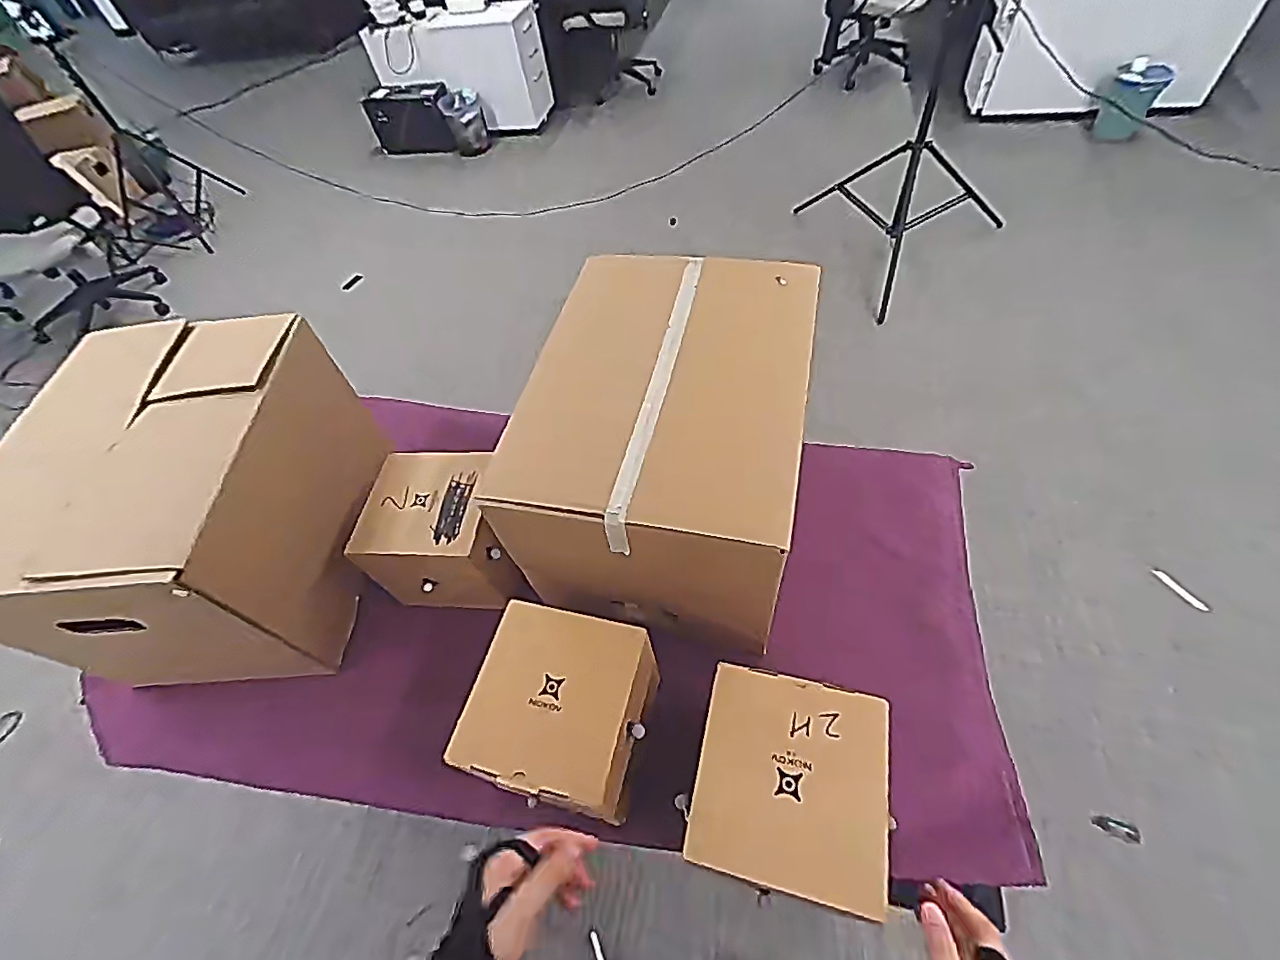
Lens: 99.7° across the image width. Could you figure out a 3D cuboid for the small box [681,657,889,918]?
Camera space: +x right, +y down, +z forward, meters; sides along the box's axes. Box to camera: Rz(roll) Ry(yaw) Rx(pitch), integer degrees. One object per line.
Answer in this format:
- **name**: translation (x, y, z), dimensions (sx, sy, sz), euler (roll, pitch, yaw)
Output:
- **small box**: translation (0.145, 0.308, 0.546), dimensions (0.168, 0.176, 0.179), euler (8, 54, 15)
